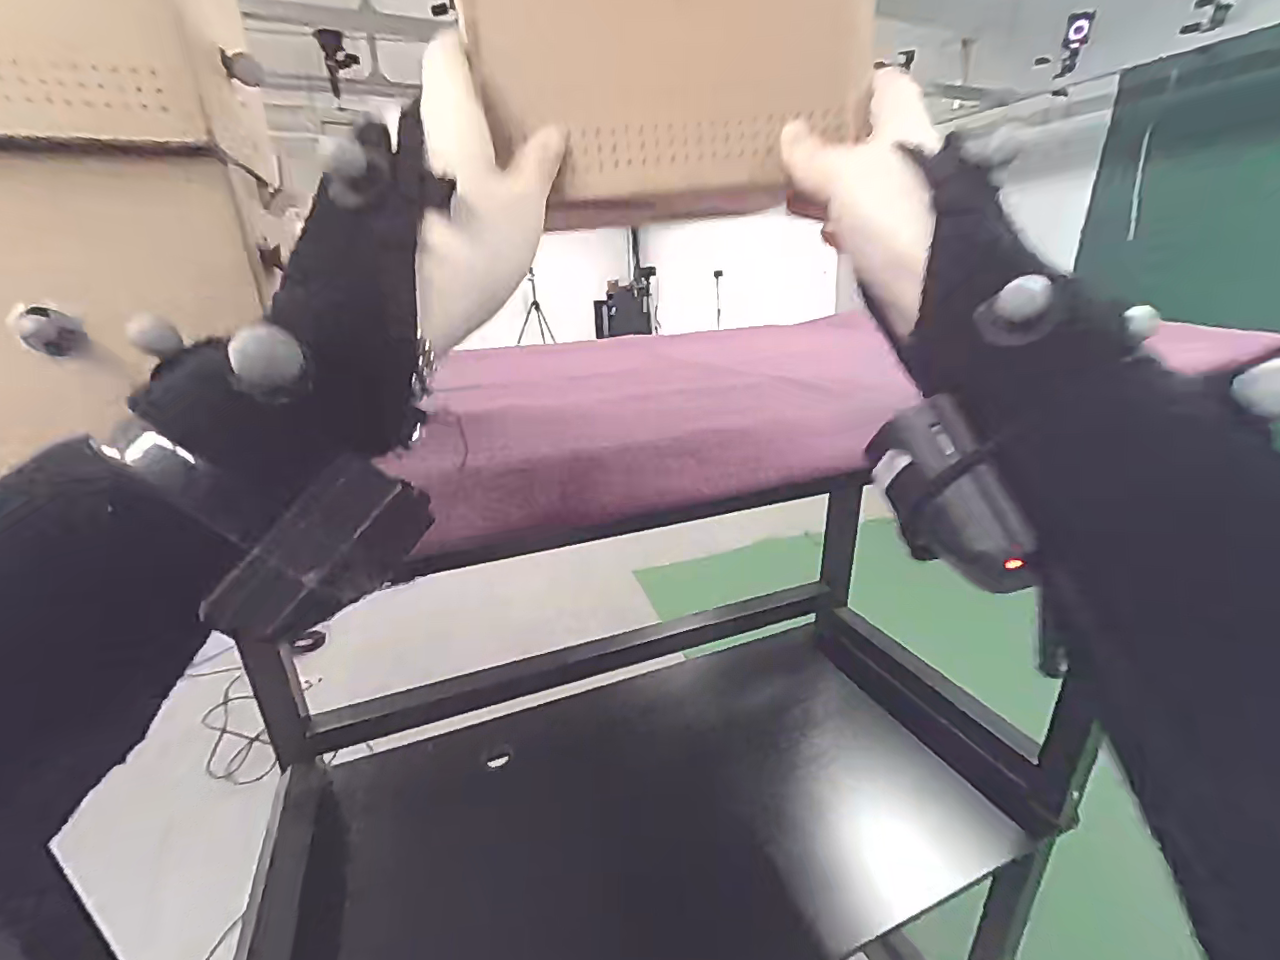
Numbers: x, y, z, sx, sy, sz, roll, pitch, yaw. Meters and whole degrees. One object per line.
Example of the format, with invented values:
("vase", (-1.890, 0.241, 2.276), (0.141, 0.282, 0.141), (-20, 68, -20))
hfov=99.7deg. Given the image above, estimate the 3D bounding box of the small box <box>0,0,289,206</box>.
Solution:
("small box", (-0.301, -0.237, 0.260), (0.179, 0.176, 0.168), (-9, 23, -21))
